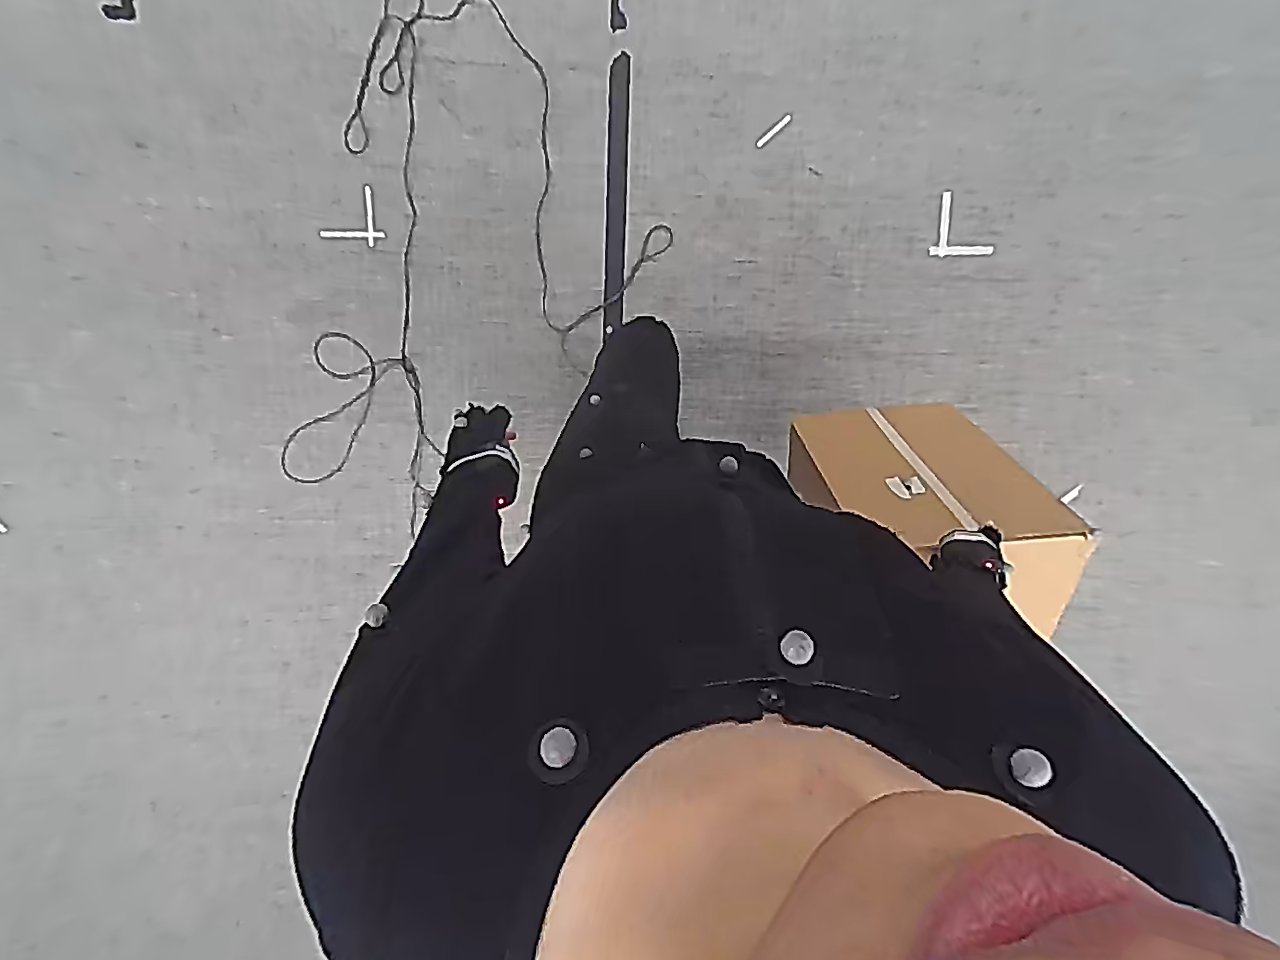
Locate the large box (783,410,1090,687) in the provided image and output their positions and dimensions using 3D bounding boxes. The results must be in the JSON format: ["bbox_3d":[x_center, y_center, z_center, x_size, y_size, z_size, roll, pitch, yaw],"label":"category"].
[{"bbox_3d":[0.474,0.108,0.993,0.320,0.408,0.320,-6,124,2],"label":"large box"}]
